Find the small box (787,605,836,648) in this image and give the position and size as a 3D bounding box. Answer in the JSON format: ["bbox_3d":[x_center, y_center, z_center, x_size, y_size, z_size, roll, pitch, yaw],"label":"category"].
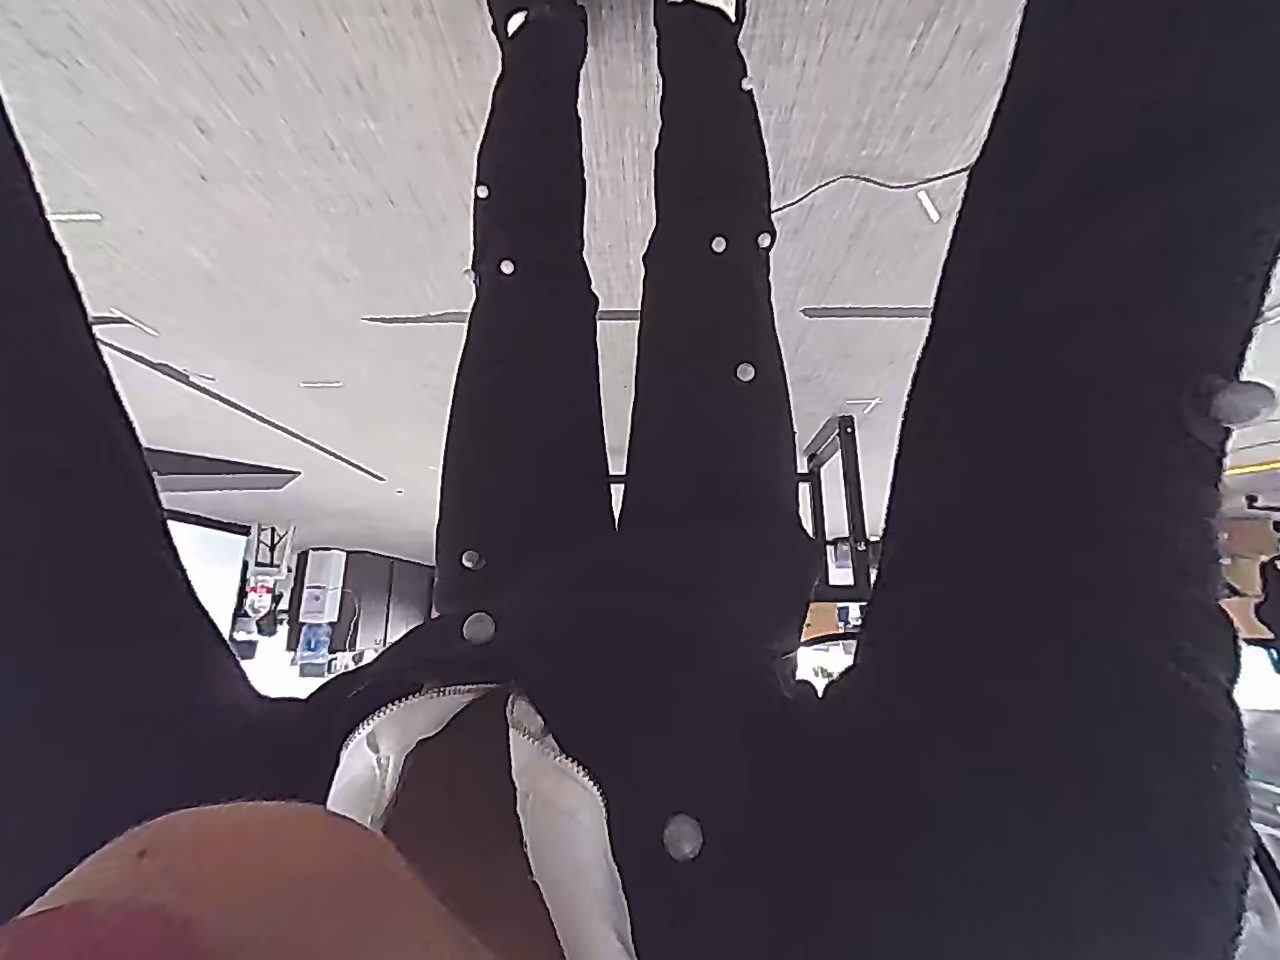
[{"bbox_3d":[0.712,0.611,2.263,0.168,0.176,0.179,0,166,6],"label":"small box"}]
